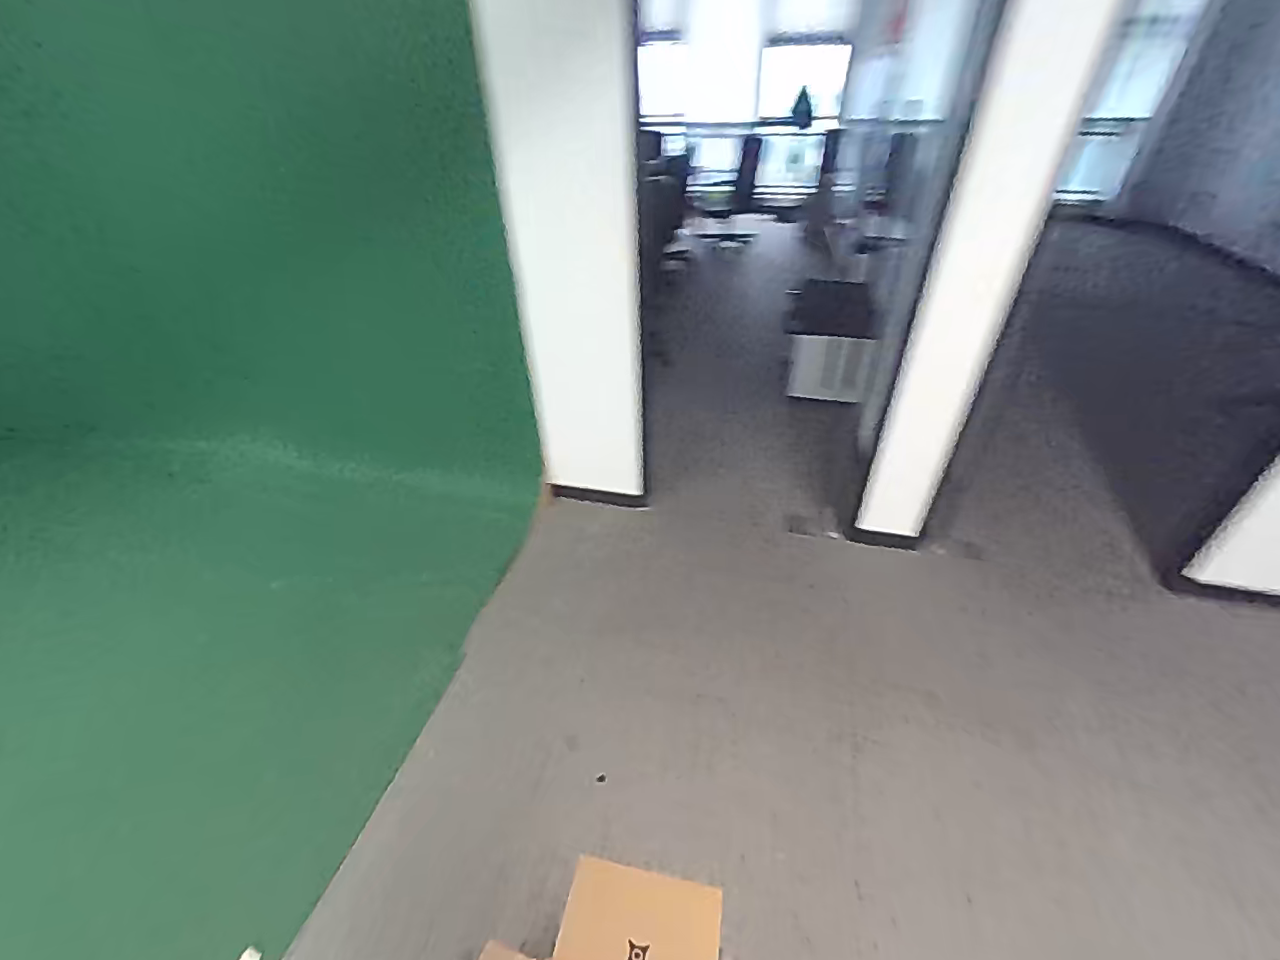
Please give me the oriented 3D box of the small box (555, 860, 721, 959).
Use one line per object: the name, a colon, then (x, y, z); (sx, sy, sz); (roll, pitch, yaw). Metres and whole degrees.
small box: (-0.011, 0.557, 0.574); (0.168, 0.176, 0.179); (8, 29, 7)
